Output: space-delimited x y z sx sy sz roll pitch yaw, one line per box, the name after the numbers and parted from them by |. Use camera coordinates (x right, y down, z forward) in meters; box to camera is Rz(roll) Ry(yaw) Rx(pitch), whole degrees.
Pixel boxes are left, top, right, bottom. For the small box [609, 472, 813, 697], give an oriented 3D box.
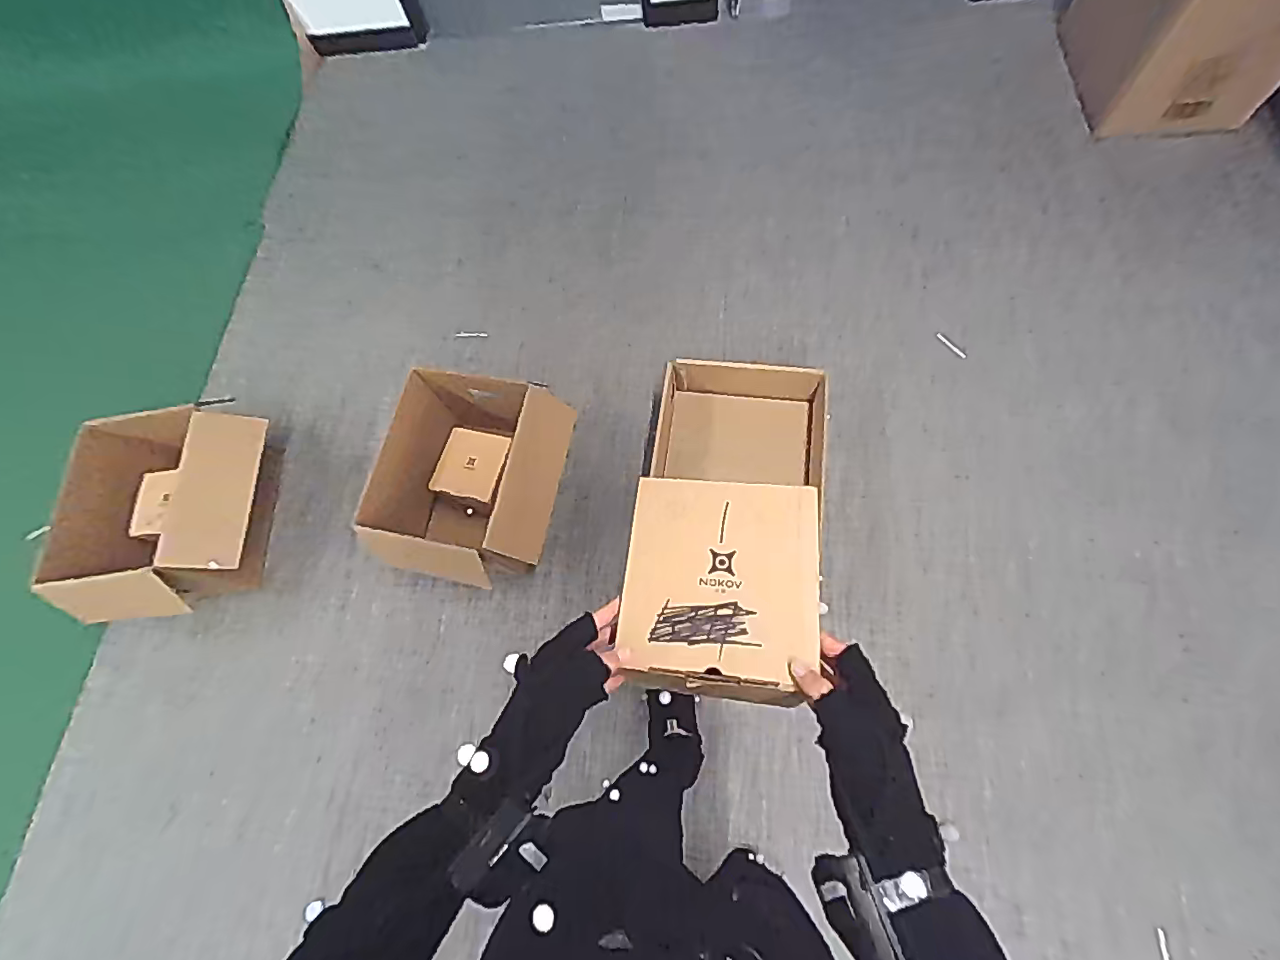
0.077 0.110 0.541 0.168 0.176 0.179 4 63 11 | small box
